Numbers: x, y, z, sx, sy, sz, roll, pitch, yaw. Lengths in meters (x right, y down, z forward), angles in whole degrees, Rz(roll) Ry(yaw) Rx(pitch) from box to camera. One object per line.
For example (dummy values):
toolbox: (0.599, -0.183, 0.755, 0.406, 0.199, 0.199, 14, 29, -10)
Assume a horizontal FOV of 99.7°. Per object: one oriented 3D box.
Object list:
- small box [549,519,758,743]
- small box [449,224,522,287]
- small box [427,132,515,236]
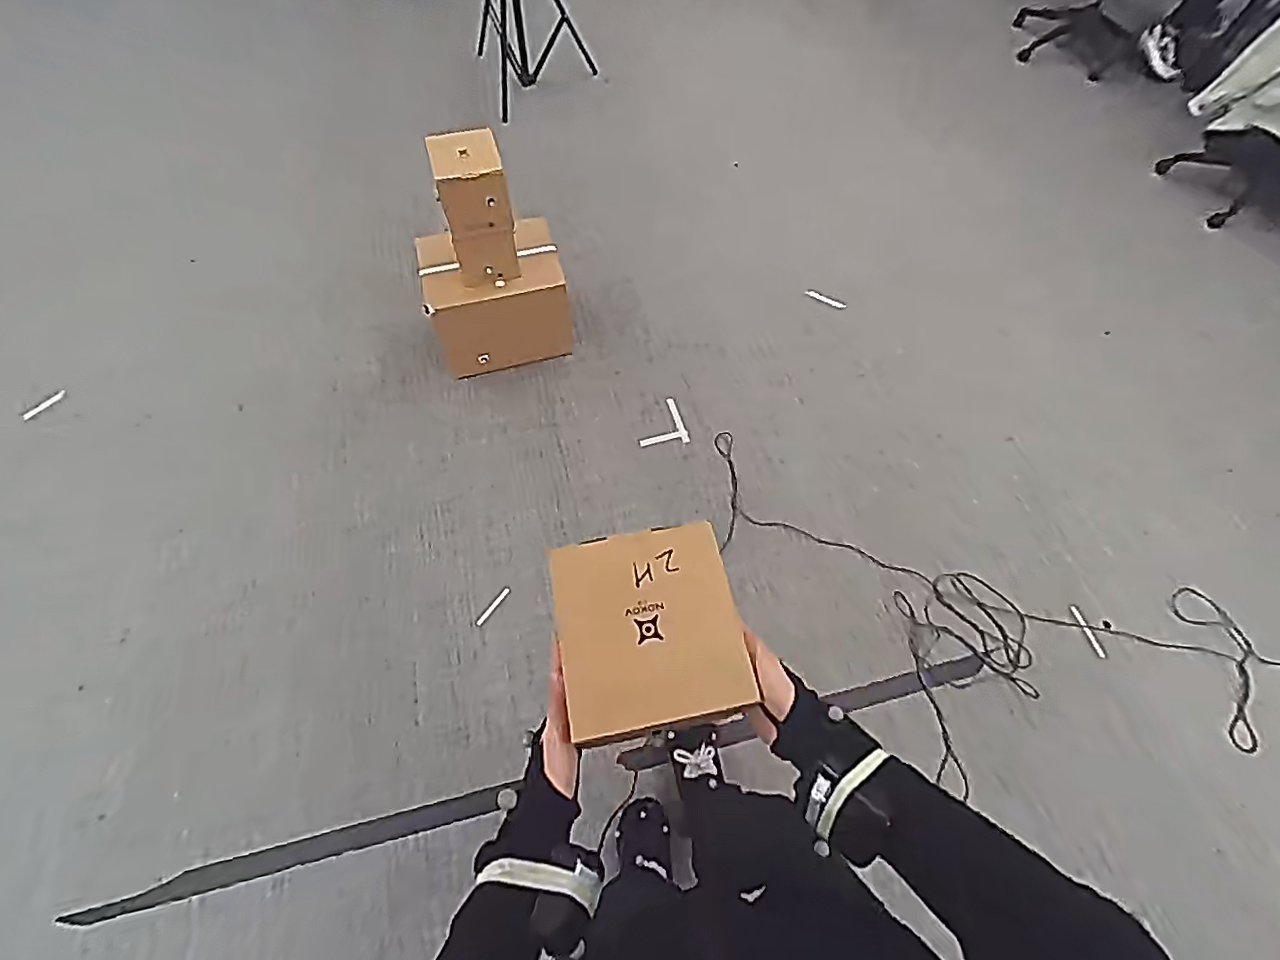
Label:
small box: (0.005, 0.163, 0.561, 0.168, 0.176, 0.179, -9, 62, -7)
small box: (-0.442, -0.682, 1.536, 0.168, 0.176, 0.179, -15, 65, -10)
small box: (-0.429, -0.752, 1.390, 0.168, 0.176, 0.179, -15, 64, -11)
